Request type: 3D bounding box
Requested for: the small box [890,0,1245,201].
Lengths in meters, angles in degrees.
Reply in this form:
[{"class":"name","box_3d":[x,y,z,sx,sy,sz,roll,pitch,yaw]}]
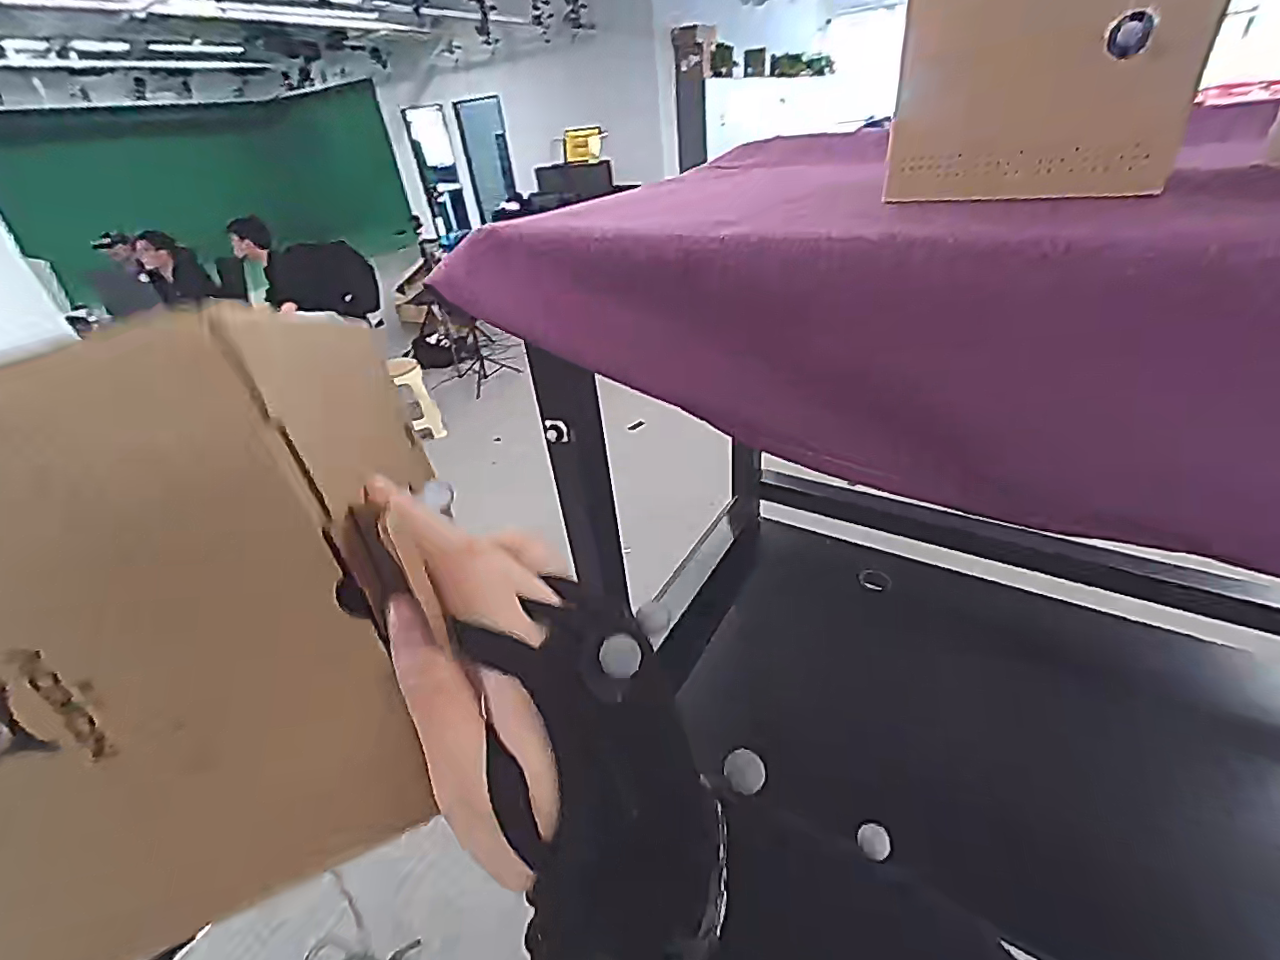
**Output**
[{"class":"small box","box_3d":[0.303,-0.311,0.395,0.179,0.176,0.168,15,38,30]}]
